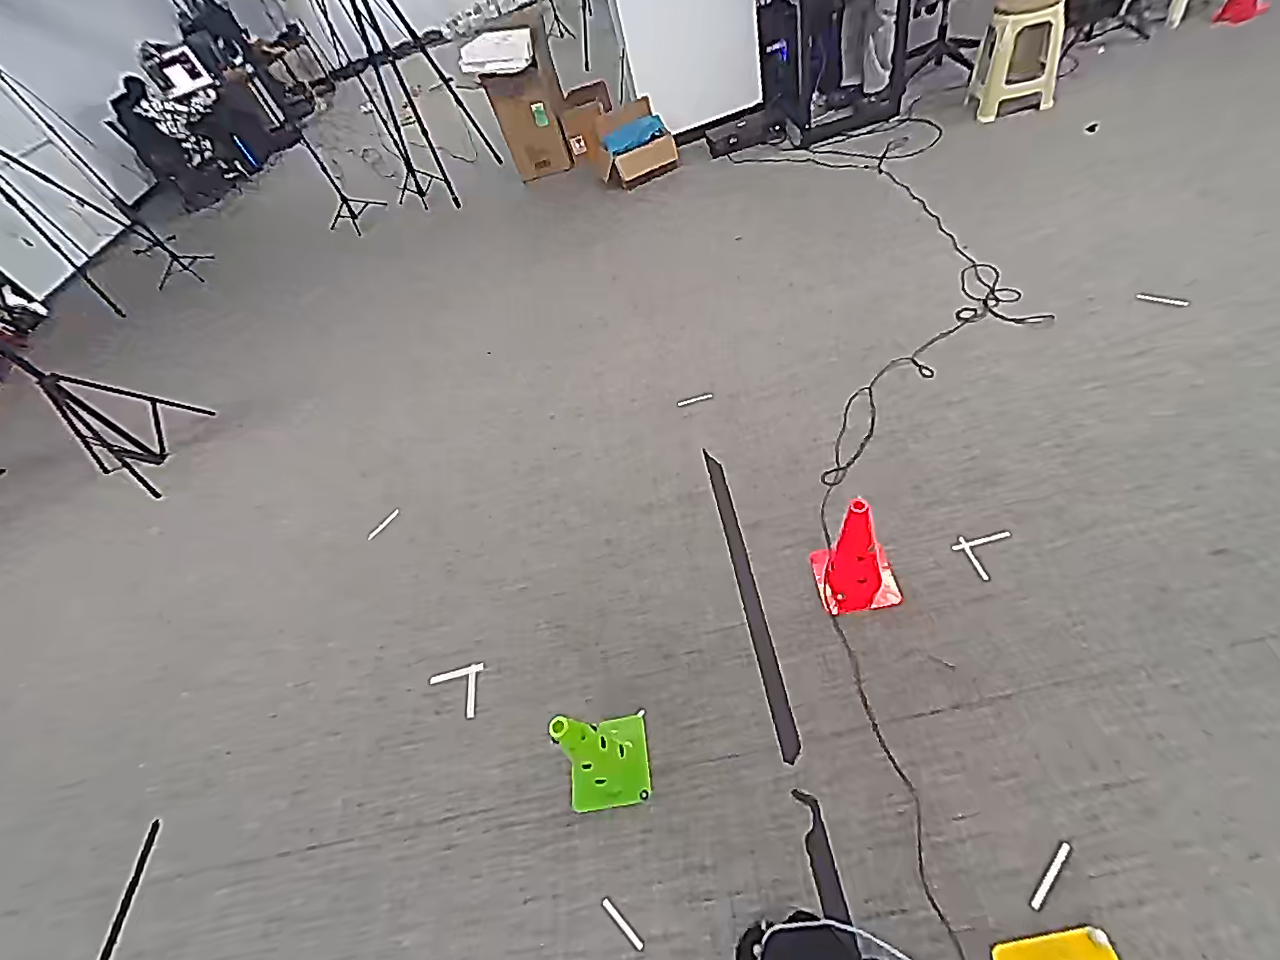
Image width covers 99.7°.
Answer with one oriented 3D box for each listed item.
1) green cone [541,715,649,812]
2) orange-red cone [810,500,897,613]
[{"bbox_3d":[-0.129,0.604,1.235,0.202,0.368,0.200,-16,48,8],"label":"green cone"},{"bbox_3d":[0.544,0.166,1.369,0.199,0.360,0.198,-11,51,9],"label":"orange-red cone"}]
